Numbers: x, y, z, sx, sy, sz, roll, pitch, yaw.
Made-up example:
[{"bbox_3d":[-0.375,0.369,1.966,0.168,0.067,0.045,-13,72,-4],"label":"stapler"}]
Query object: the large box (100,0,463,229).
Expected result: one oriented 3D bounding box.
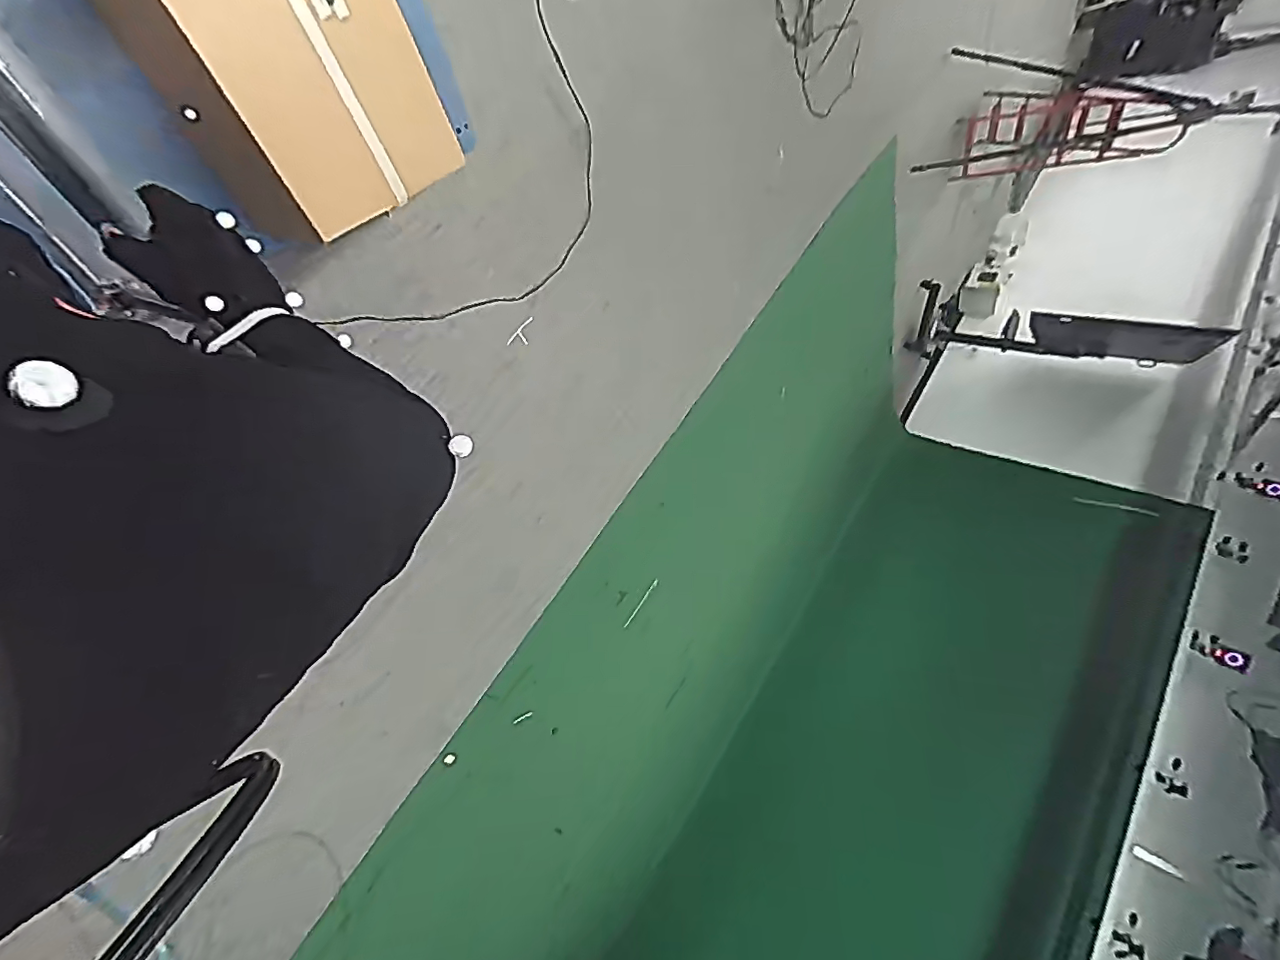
[{"bbox_3d":[-0.581,-0.684,0.893,0.320,0.320,0.408,-47,138,-25],"label":"large box"}]
